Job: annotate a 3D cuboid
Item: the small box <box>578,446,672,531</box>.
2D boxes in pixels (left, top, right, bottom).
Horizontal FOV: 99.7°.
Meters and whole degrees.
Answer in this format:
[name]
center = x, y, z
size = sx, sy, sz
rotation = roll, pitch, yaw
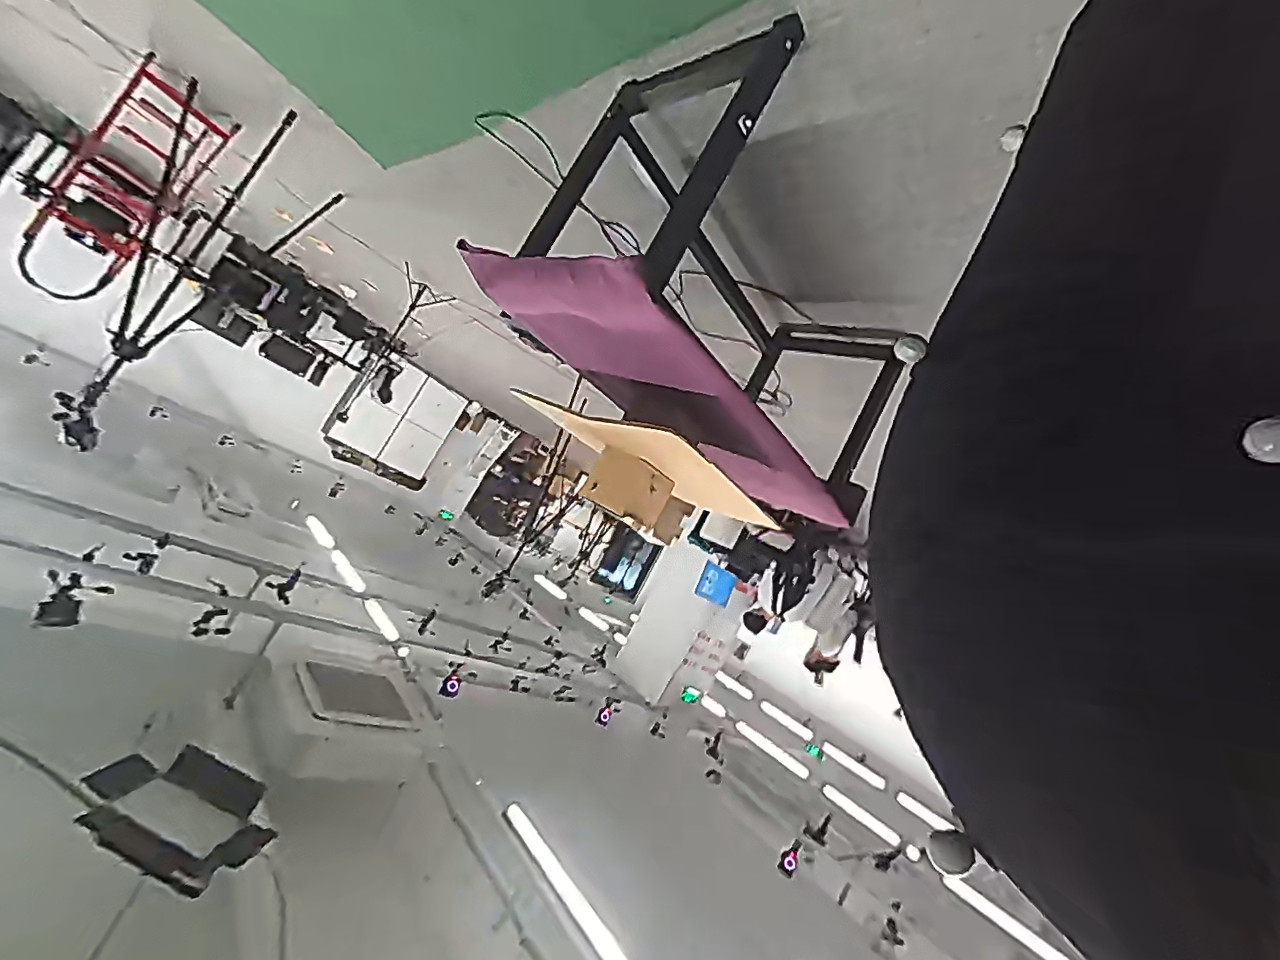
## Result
[small box]
center = -0.041, 0.020, 1.580
size = 0.179, 0.176, 0.168
rotation = 23, 171, 43
